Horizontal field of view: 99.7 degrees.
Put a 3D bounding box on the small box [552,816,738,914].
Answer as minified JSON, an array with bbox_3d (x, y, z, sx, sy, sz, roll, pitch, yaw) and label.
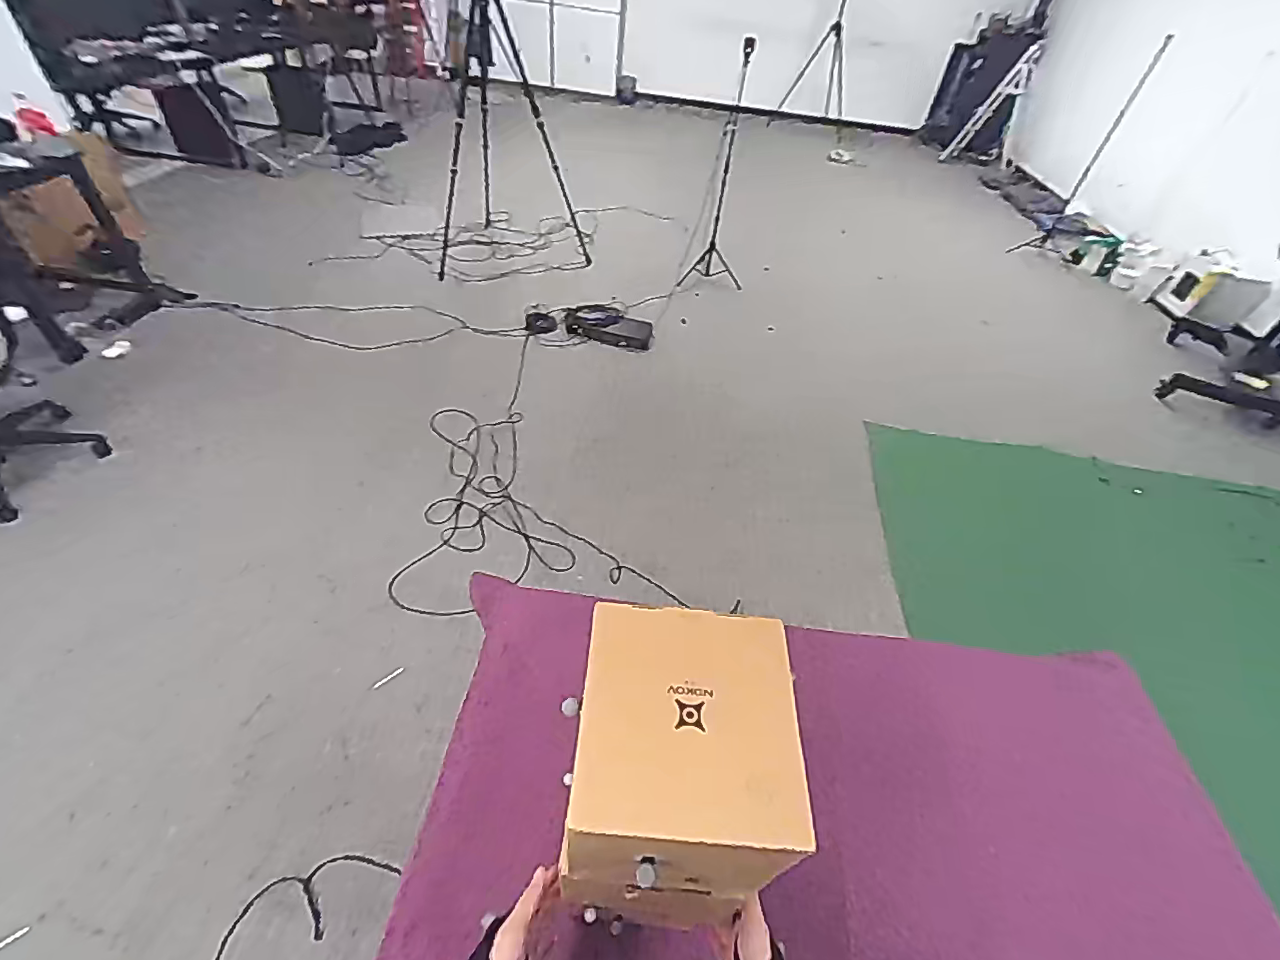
[{"bbox_3d":[0.008,0.334,0.574,0.168,0.176,0.179,8,44,0],"label":"small box"}]

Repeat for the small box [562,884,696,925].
[{"bbox_3d":[-0.007,0.442,0.697,0.168,0.176,0.179,8,45,0],"label":"small box"}]

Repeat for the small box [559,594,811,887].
[{"bbox_3d":[0.029,0.223,0.459,0.168,0.176,0.179,6,44,-1],"label":"small box"}]
